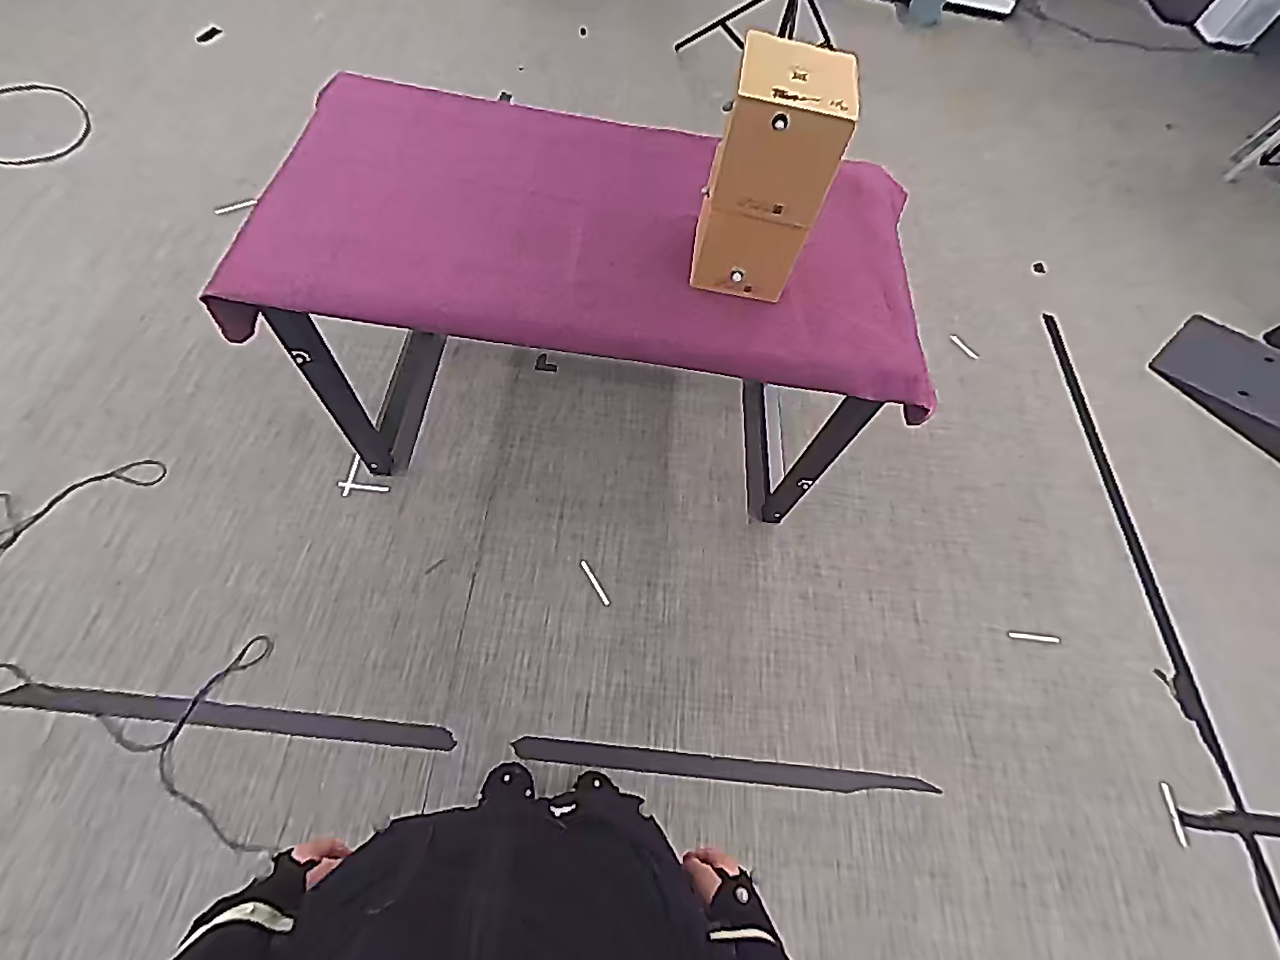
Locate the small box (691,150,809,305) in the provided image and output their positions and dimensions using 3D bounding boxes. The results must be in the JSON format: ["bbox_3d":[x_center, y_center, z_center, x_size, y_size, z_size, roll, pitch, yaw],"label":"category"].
[{"bbox_3d":[0.191,-0.447,0.968,0.168,0.176,0.179,9,62,-2],"label":"small box"}]

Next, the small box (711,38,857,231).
[{"bbox_3d":[0.210,-0.518,0.821,0.168,0.176,0.179,11,61,-1],"label":"small box"}]
